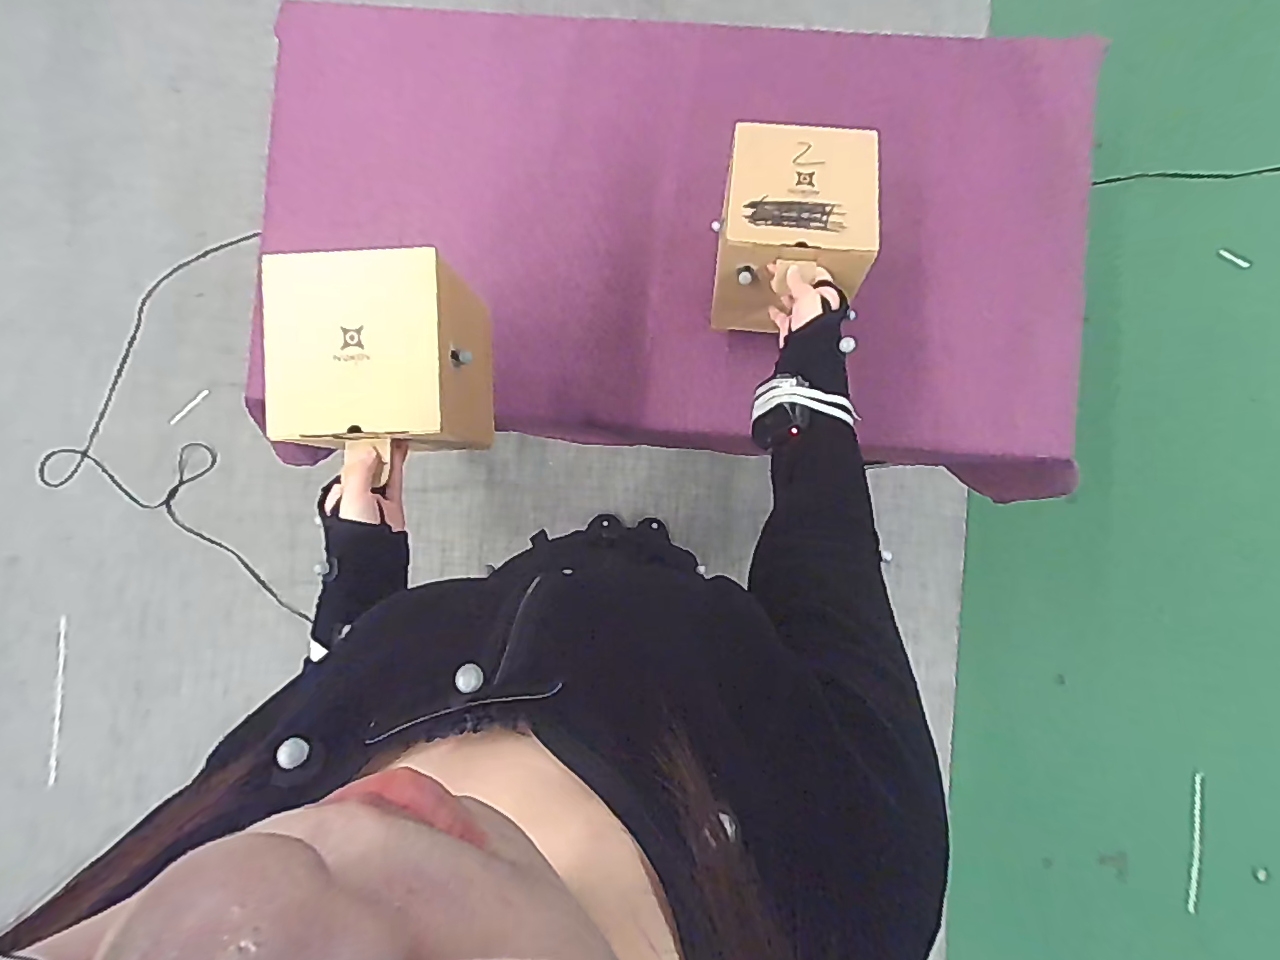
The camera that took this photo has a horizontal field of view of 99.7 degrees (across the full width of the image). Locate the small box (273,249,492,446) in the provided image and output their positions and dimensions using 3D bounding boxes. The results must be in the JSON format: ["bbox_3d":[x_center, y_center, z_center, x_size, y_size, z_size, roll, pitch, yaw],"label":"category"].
[{"bbox_3d":[-0.269,-0.133,0.599,0.168,0.176,0.179,-2,89,1],"label":"small box"}]
